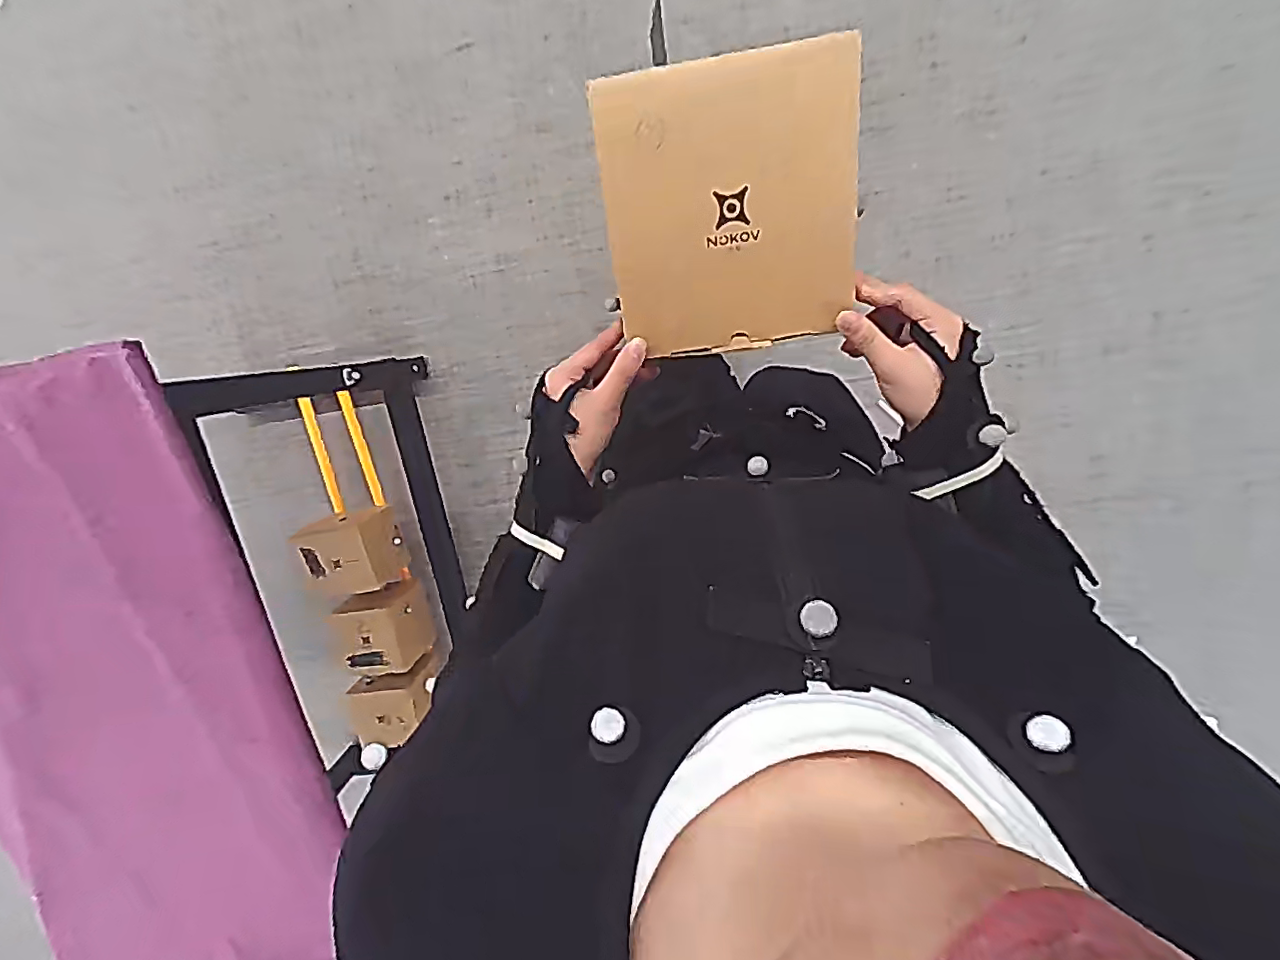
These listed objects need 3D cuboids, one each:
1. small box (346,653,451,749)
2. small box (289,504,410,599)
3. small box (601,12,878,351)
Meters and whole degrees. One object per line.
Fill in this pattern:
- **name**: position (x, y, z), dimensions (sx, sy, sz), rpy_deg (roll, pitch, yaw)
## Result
- **small box**: position (-0.630, 0.578, 1.429), dimensions (0.179, 0.176, 0.168), rpy_deg (-8, 104, 6)
- **small box**: position (-0.702, 0.171, 1.326), dimensions (0.179, 0.176, 0.168), rpy_deg (-10, 105, 6)
- **small box**: position (0.066, -0.213, 0.418), dimensions (0.168, 0.176, 0.179), rpy_deg (-7, 116, 4)
